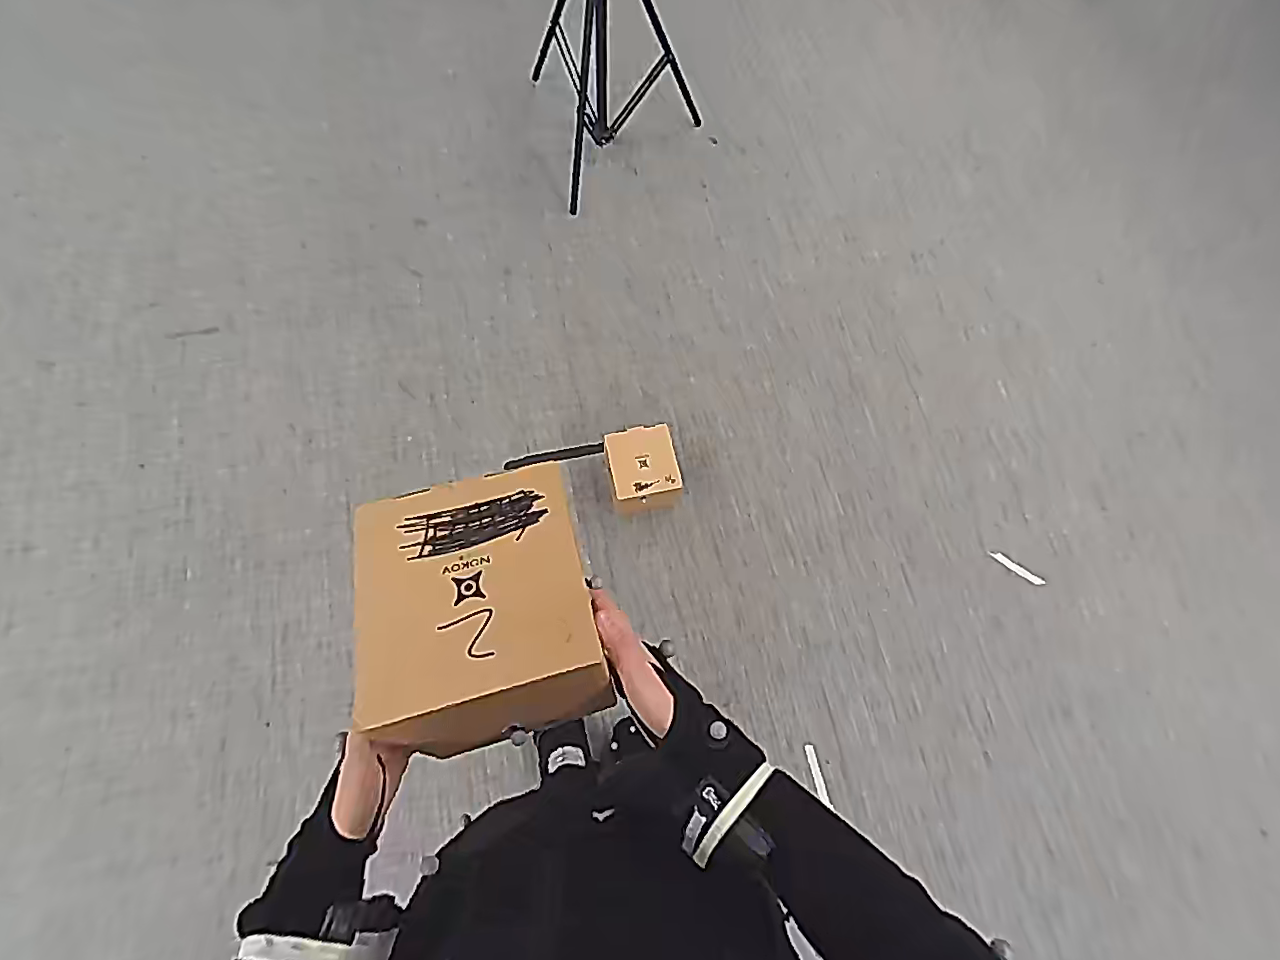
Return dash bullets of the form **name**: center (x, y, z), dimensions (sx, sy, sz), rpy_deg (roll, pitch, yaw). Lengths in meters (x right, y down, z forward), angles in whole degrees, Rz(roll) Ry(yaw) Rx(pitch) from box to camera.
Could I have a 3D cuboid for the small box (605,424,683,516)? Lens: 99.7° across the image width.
- **small box**: center (0.003, -0.022, 1.405), dimensions (0.168, 0.176, 0.179), rpy_deg (-11, 72, -7)
